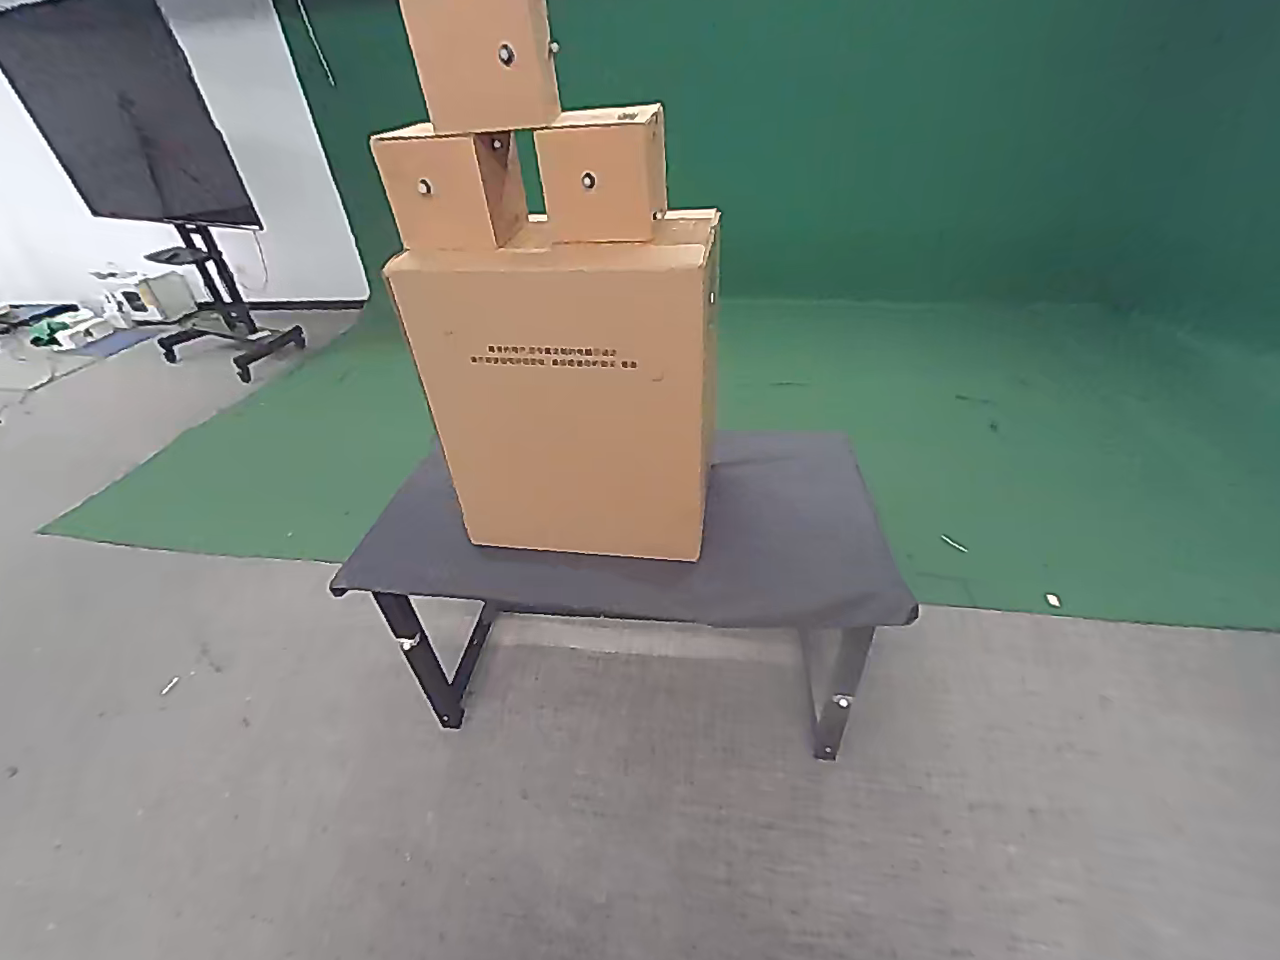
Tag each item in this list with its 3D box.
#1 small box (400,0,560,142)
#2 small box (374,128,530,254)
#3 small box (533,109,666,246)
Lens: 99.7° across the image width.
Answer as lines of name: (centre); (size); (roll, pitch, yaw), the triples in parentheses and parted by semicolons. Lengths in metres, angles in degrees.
small box: (-0.225, -0.626, 0.820); (0.179, 0.176, 0.168); (-4, 39, 3)
small box: (-0.312, -0.502, 0.937); (0.179, 0.176, 0.168); (4, 42, 11)
small box: (-0.055, -0.505, 0.908); (0.179, 0.176, 0.168); (3, 41, 12)
